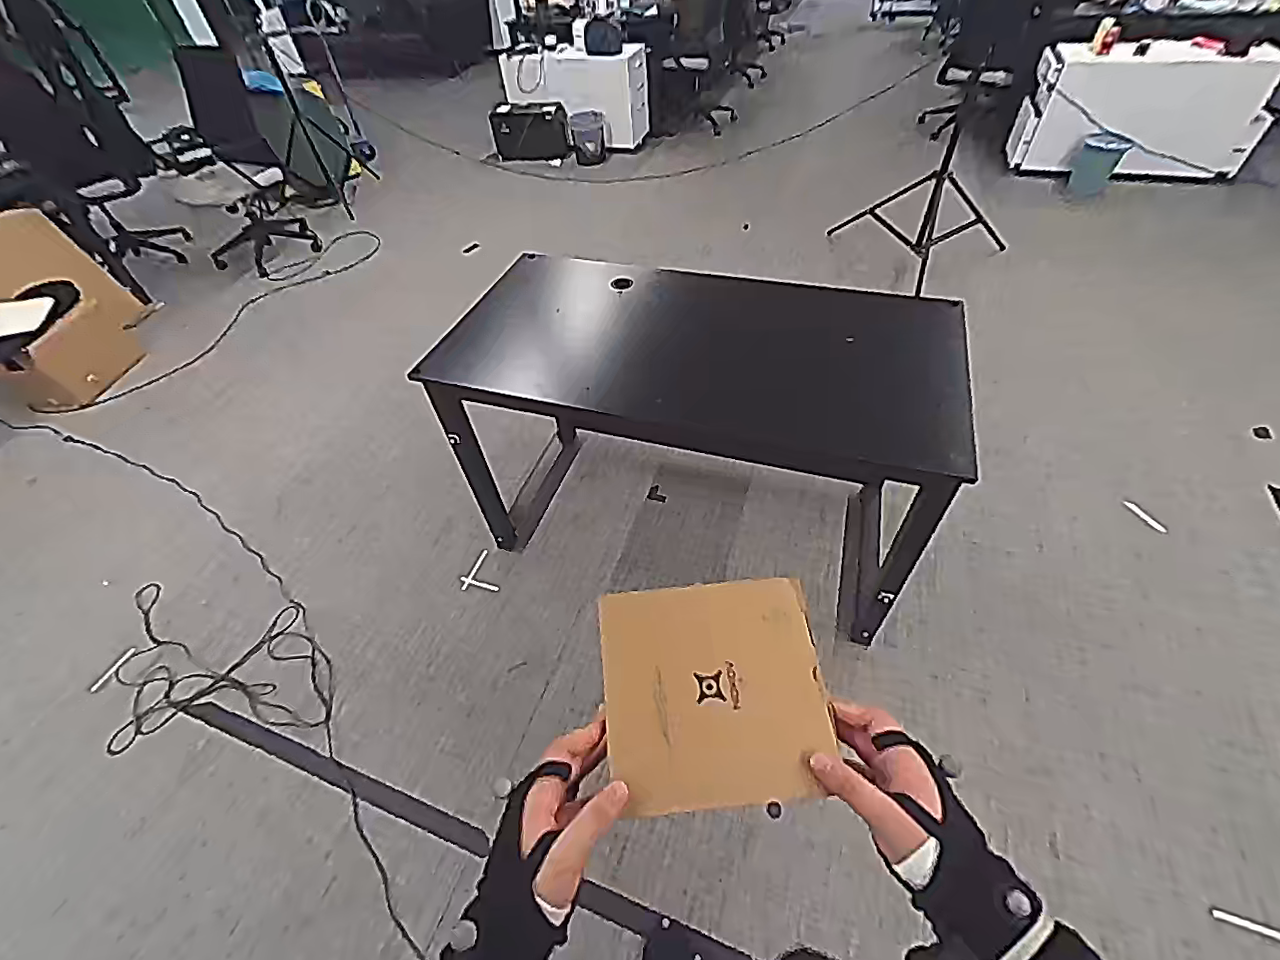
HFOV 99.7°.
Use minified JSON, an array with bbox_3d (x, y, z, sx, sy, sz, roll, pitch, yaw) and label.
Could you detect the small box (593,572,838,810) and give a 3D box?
[{"bbox_3d":[0.054,0.197,0.500,0.179,0.176,0.168,-6,60,-2],"label":"small box"}]
